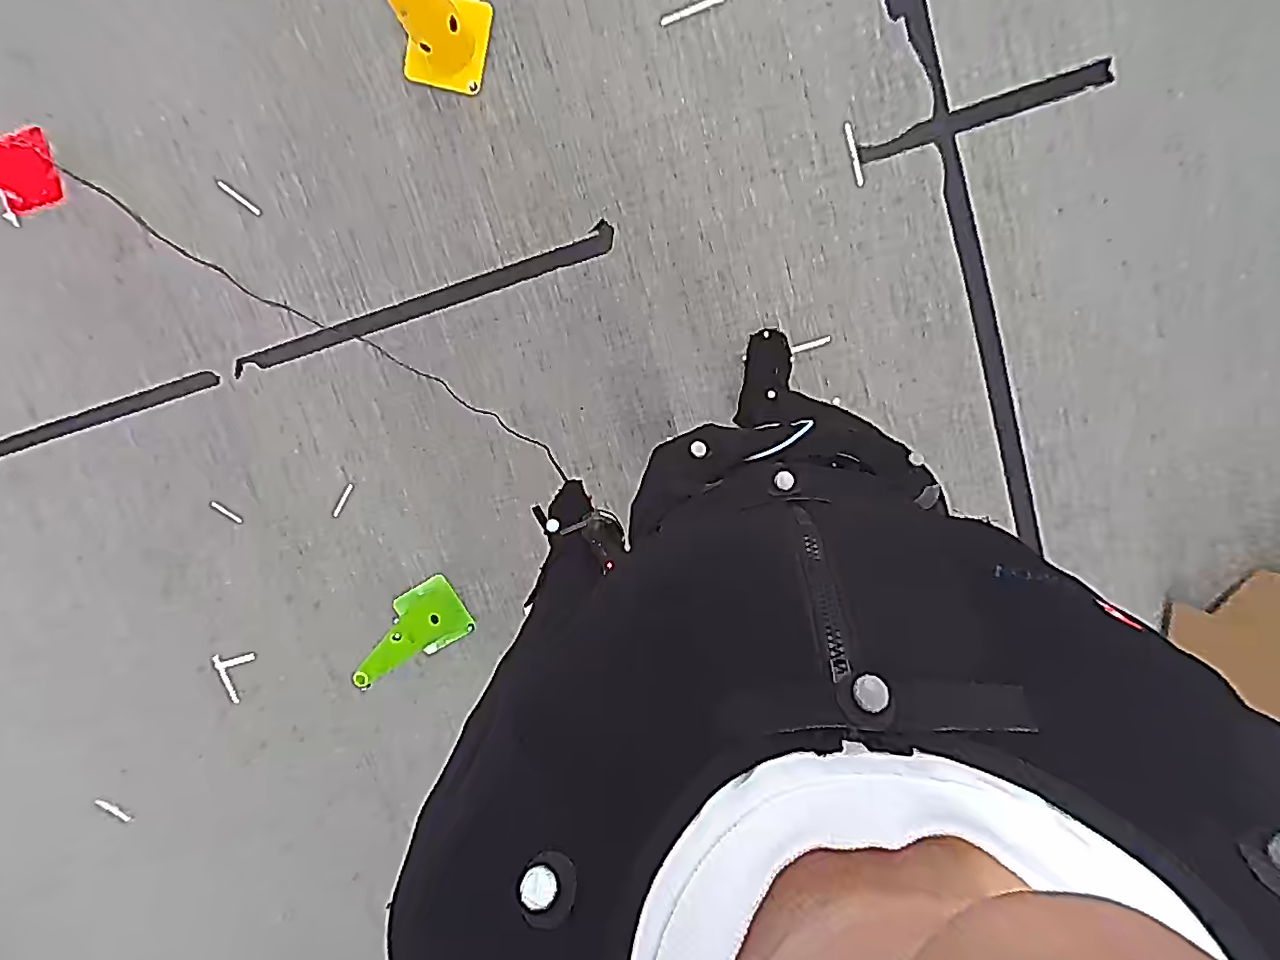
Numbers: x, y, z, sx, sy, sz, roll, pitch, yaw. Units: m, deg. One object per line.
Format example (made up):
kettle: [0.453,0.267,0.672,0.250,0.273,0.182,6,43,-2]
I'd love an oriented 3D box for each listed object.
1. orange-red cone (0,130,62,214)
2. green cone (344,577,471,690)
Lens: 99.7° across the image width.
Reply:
orange-red cone: [-1.755,-0.834,1.356,0.199,0.360,0.198,-8,100,8]
green cone: [-0.650,0.440,1.447,0.202,0.368,0.200,-31,95,13]
